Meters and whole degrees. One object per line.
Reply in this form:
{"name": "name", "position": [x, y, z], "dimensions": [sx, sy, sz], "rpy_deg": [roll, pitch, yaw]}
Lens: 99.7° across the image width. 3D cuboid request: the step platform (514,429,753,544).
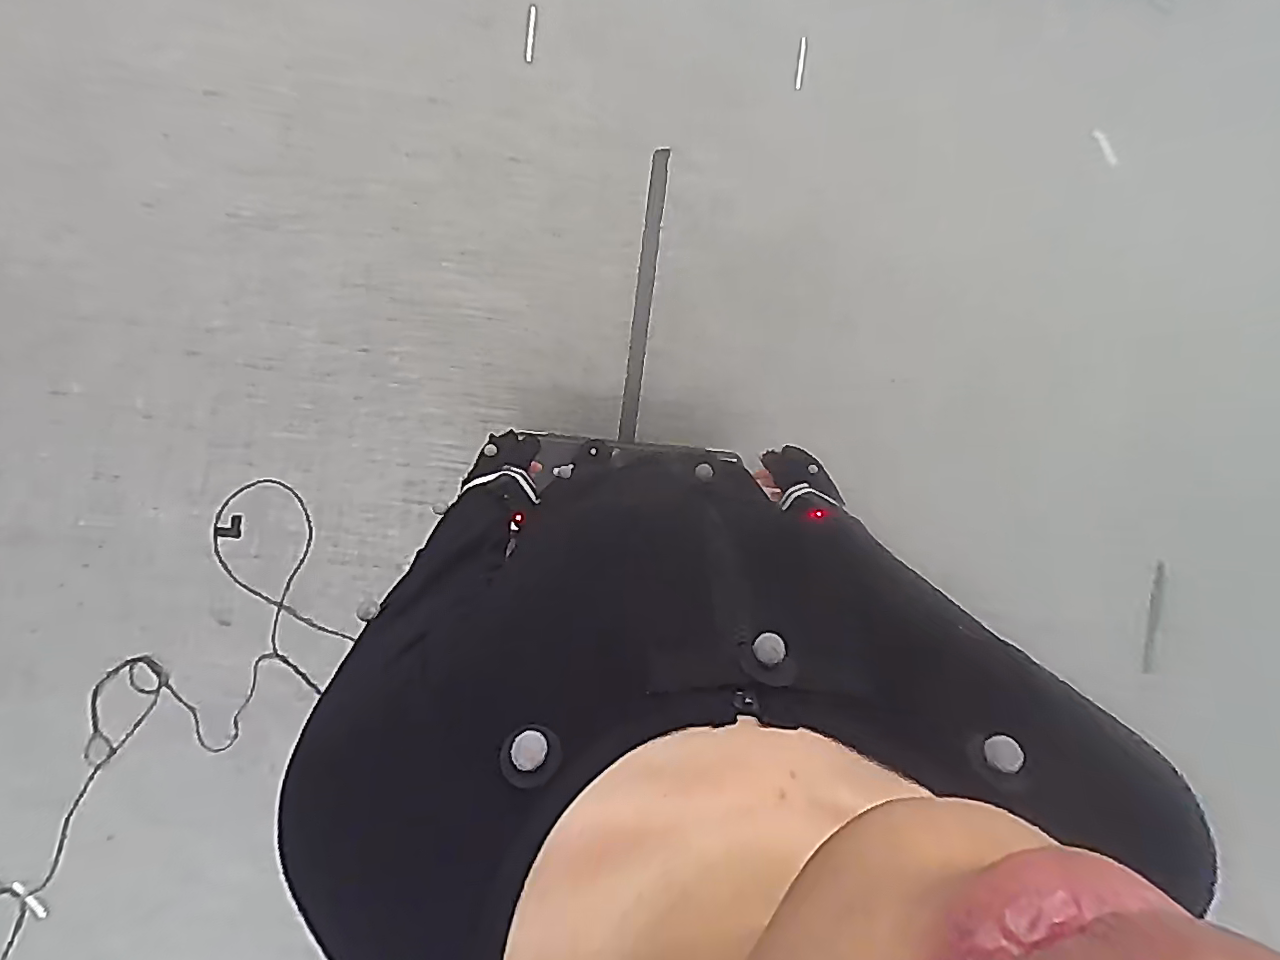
{"name": "step platform", "position": [-0.018, 0.019, 1.576], "dimensions": [0.684, 0.204, 0.286], "rpy_deg": [4, 94, -6]}
